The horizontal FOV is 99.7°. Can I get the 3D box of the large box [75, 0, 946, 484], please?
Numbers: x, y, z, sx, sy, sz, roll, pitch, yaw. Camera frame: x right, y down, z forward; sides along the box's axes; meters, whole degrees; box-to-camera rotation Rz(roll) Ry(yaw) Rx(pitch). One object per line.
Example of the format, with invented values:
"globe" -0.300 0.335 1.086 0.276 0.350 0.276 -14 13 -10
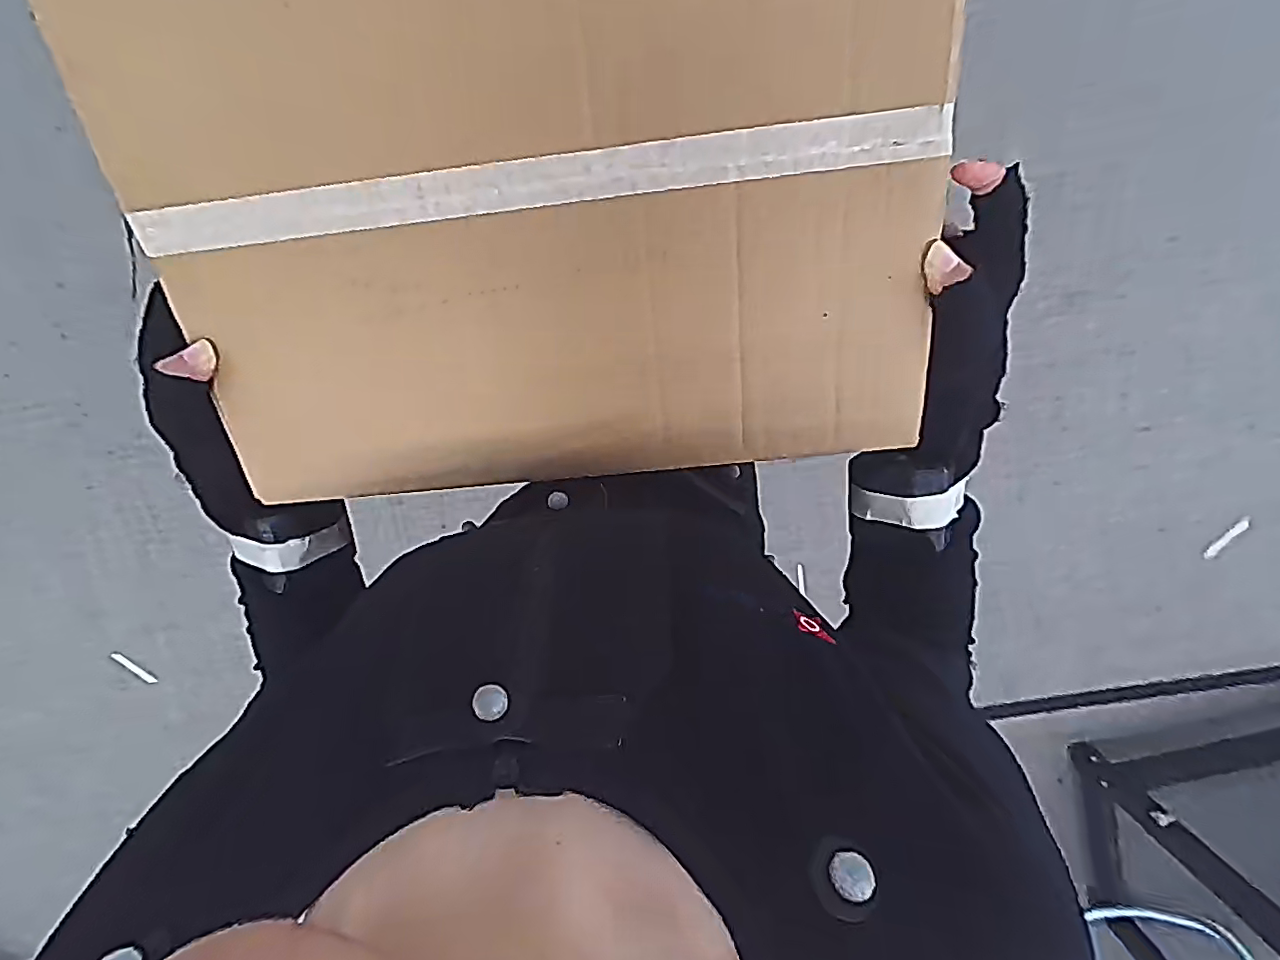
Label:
"large box" -0.053 -0.215 0.411 0.408 0.320 0.320 -5 115 4
